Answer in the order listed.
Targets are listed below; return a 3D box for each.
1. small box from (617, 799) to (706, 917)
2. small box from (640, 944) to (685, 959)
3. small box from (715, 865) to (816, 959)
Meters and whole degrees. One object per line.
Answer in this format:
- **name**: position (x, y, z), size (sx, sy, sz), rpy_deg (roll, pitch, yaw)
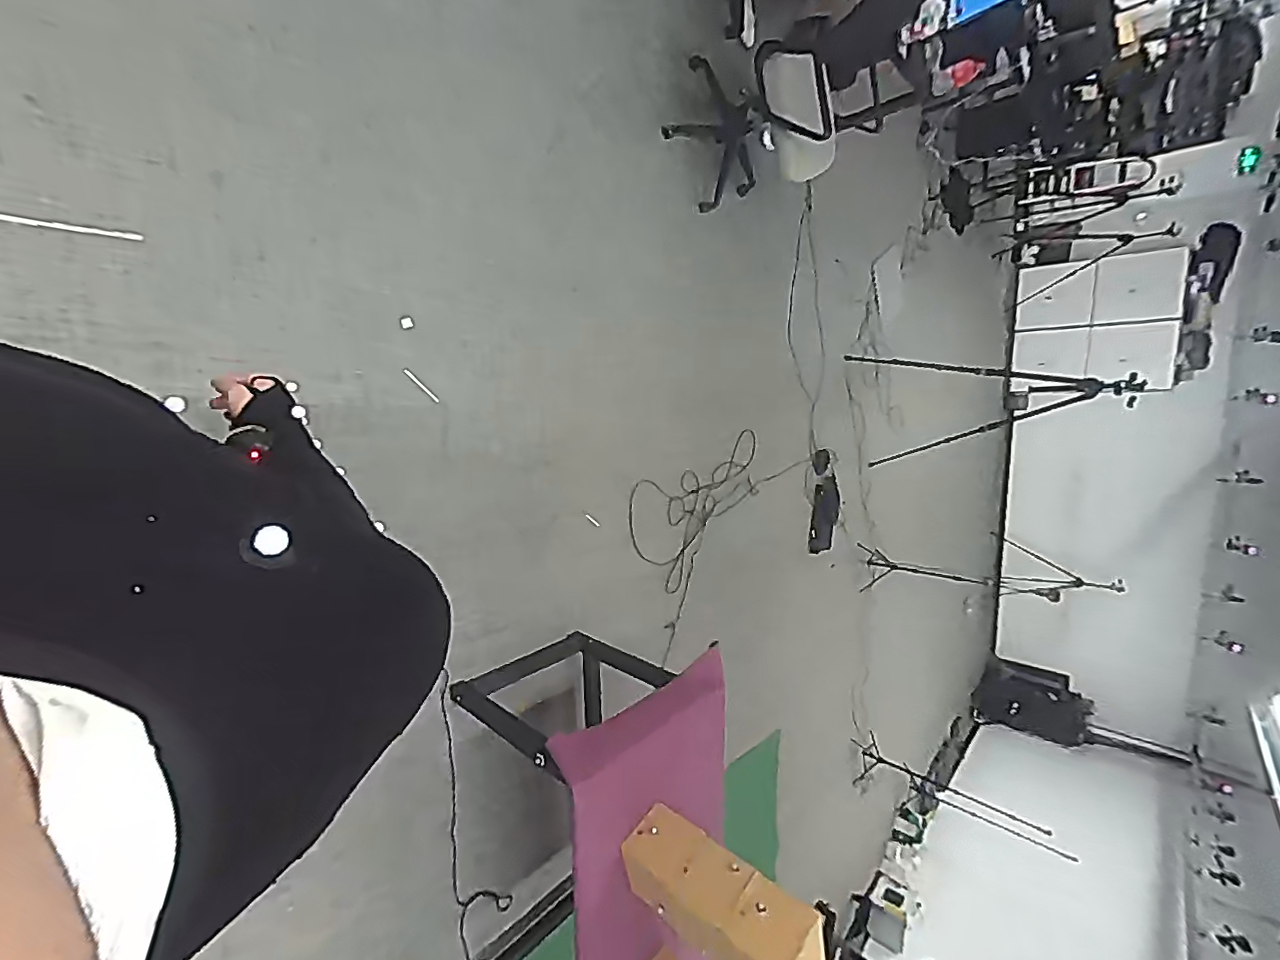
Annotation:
- **small box**: position (0.060, 1.038, 1.503), size (0.168, 0.176, 0.179), rpy_deg (-29, 116, -43)
- **small box**: position (0.064, 1.509, 1.568), size (0.168, 0.176, 0.179), rpy_deg (-8, 100, -47)
- **small box**: position (0.298, 1.071, 1.281), size (0.168, 0.176, 0.179), rpy_deg (-30, 117, -41)
